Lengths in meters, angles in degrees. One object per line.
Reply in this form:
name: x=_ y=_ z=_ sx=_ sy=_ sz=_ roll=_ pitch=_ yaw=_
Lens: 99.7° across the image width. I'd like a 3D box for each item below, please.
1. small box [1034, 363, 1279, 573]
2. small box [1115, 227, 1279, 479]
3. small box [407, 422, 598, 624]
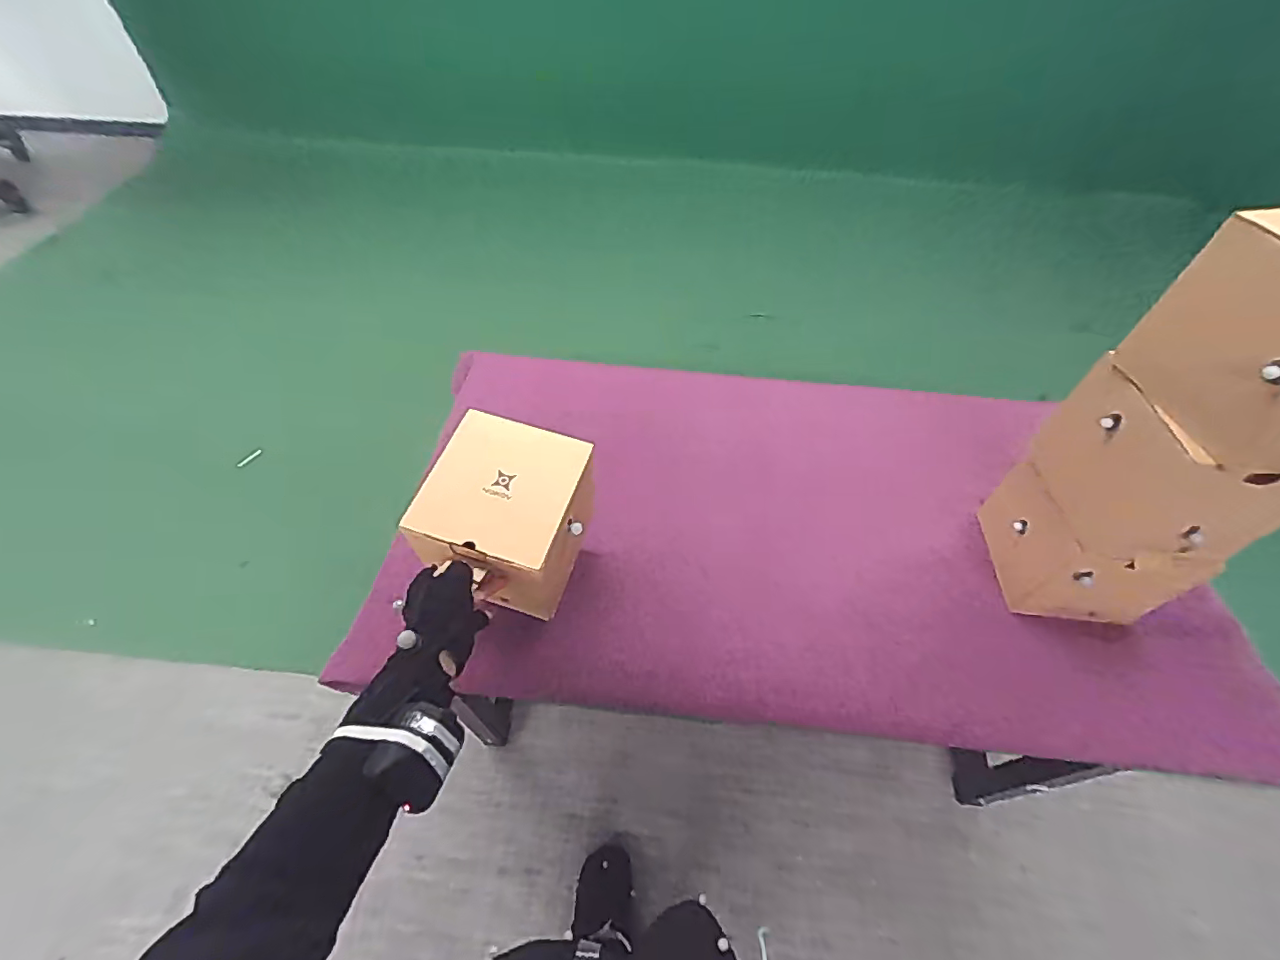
small box: x=0.612 y=-0.013 z=0.629 sx=0.168 sy=0.176 sz=0.179 roll=2 pitch=52 yaw=2
small box: x=0.619 y=-0.114 z=0.501 sx=0.168 sy=0.176 sz=0.179 roll=-6 pitch=52 yaw=-6
small box: x=-0.160 y=0.060 z=0.691 sx=0.168 sy=0.176 sz=0.179 roll=16 pitch=59 yaw=6
